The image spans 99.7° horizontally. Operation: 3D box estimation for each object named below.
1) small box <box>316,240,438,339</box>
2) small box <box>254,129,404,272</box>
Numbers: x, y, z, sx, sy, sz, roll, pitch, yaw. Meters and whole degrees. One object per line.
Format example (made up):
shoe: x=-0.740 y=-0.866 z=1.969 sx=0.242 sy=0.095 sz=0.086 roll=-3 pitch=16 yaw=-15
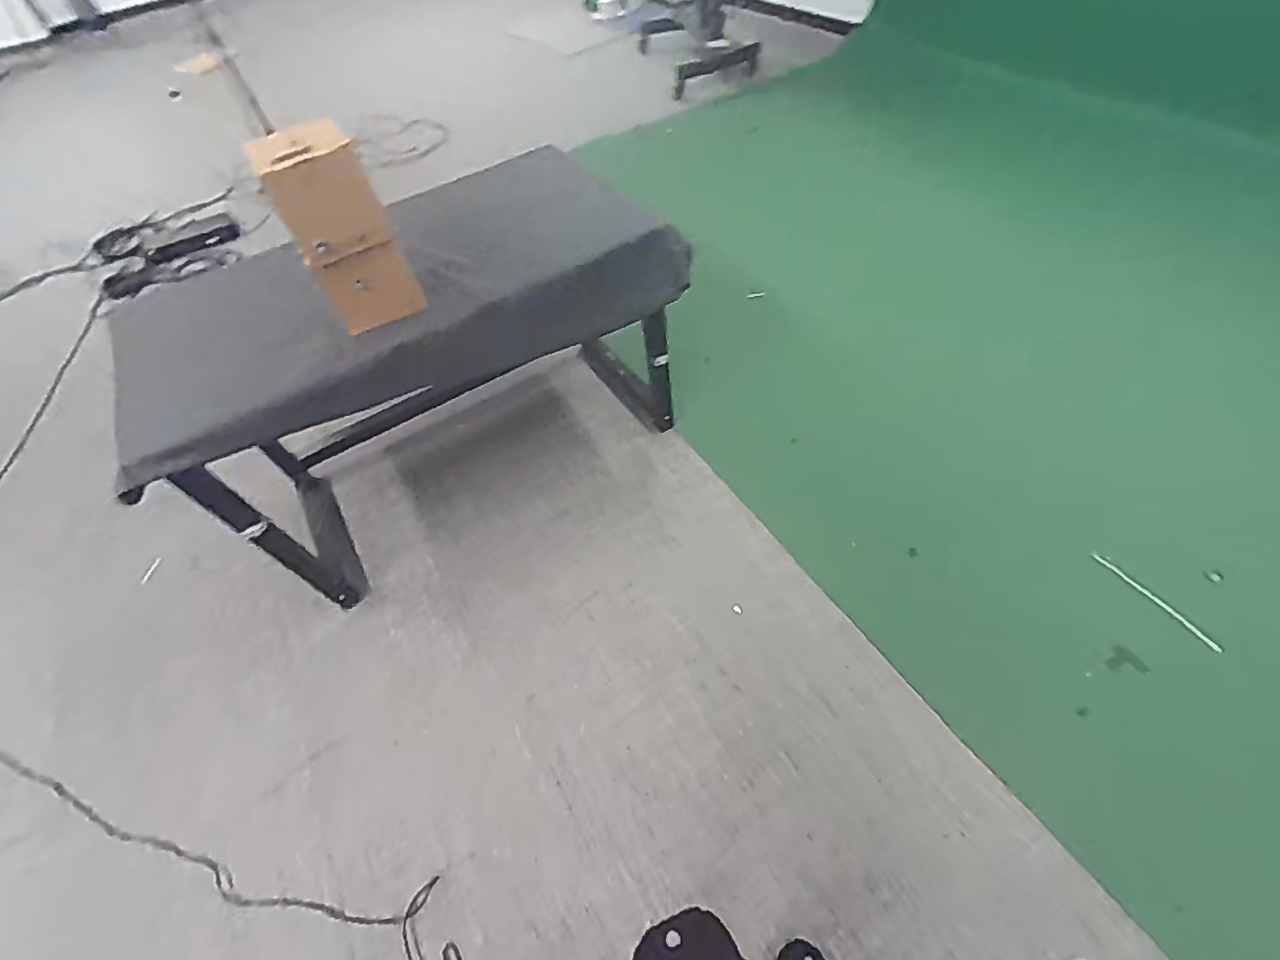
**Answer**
small box: x=-0.568 y=-0.433 z=1.166 sx=0.179 sy=0.176 sz=0.168 roll=-27 pitch=53 yaw=-13
small box: x=-0.580 y=-0.522 z=1.025 sx=0.168 sy=0.176 sz=0.179 roll=-32 pitch=57 yaw=-16
